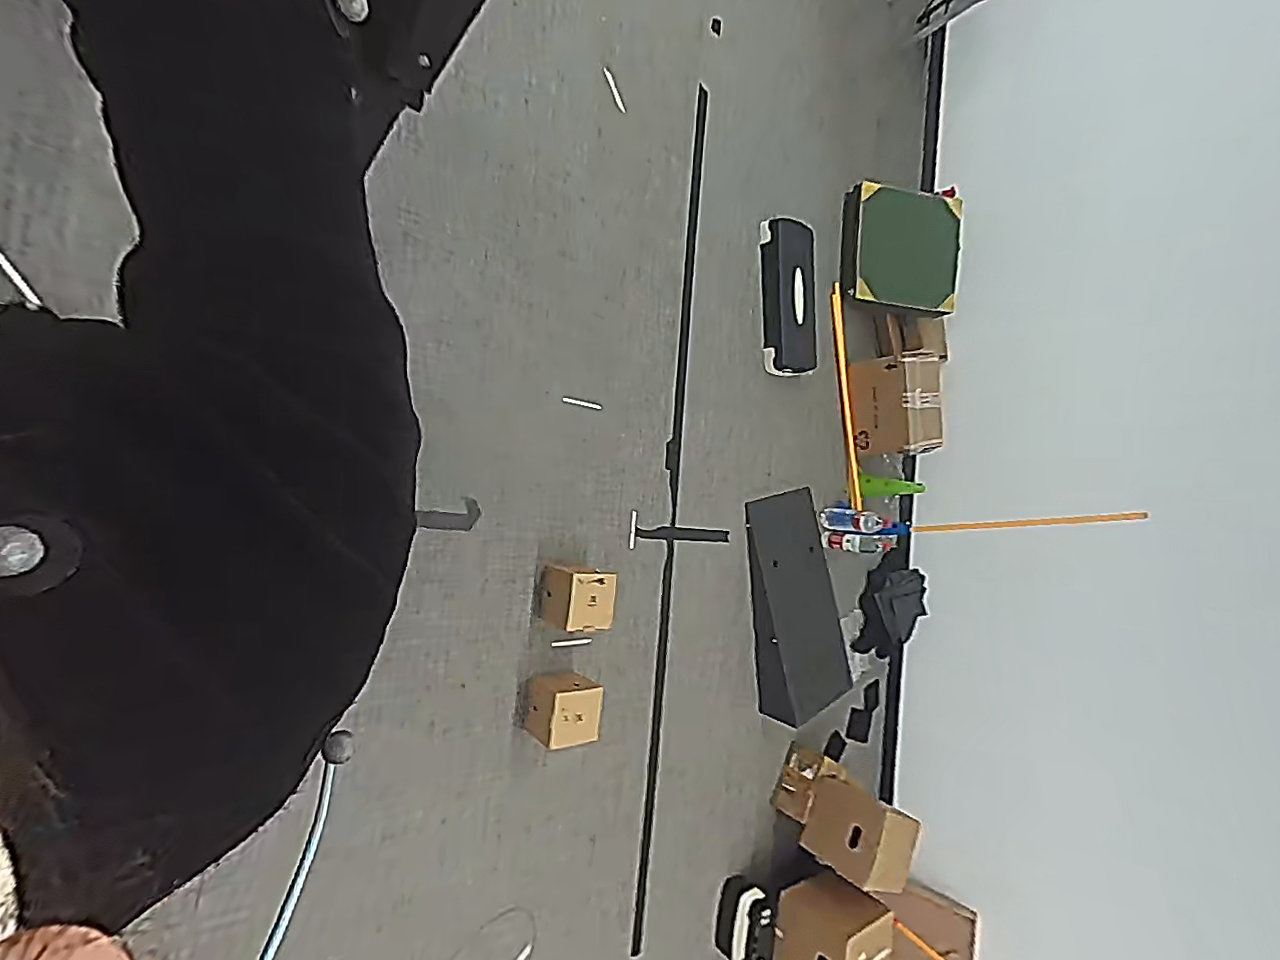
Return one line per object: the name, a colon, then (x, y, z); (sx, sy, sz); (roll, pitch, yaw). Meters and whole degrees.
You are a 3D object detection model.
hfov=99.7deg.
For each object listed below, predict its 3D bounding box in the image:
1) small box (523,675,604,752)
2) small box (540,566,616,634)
small box: (-0.240, 0.721, 1.693); (0.179, 0.176, 0.168); (10, 85, -40)
small box: (-0.199, 0.376, 1.713); (0.168, 0.176, 0.179); (10, 87, -40)
